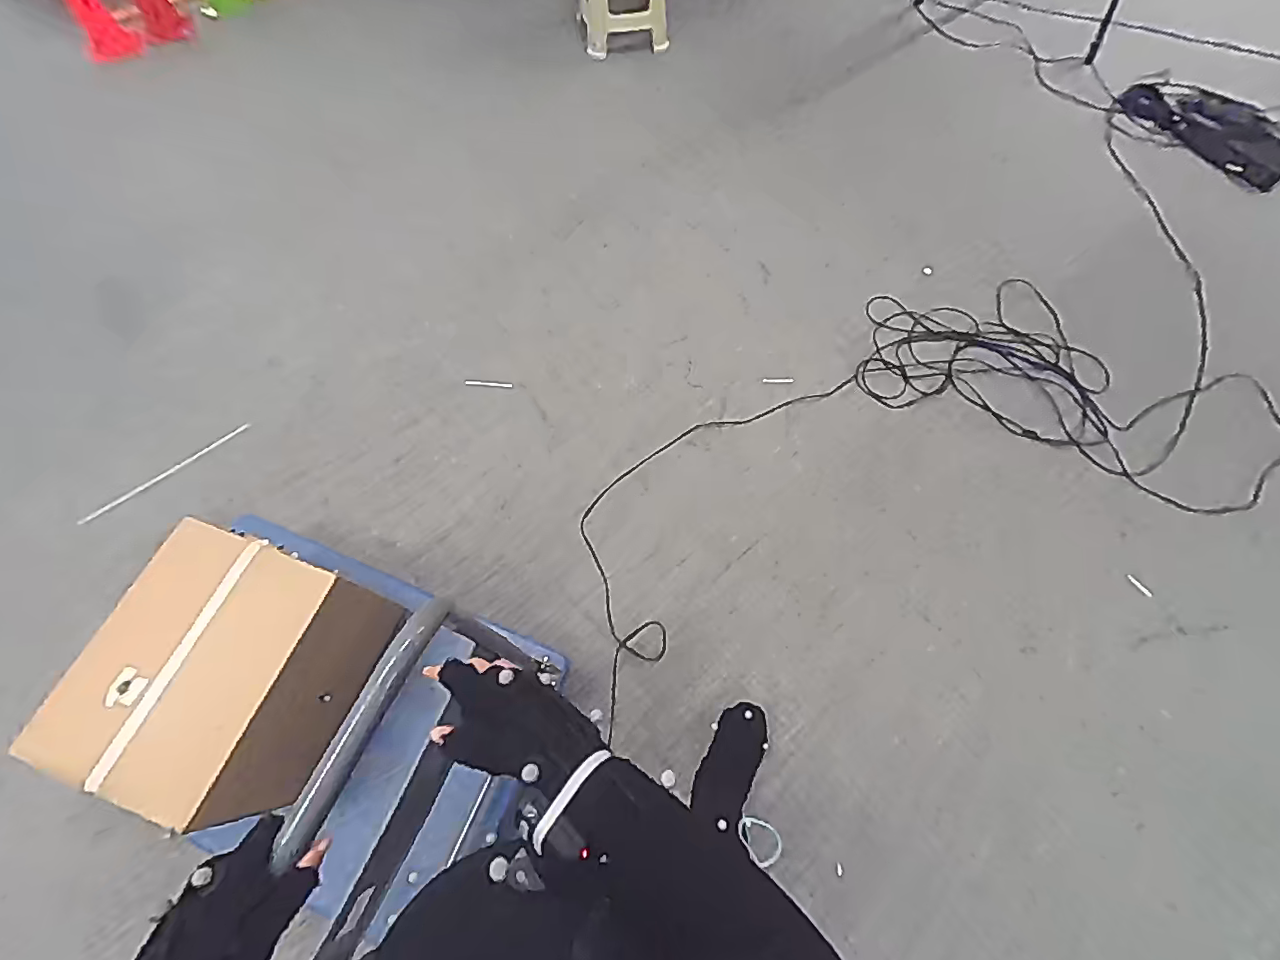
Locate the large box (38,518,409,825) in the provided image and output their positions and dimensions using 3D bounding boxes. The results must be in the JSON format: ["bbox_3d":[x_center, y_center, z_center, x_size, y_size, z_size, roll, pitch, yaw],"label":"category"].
[{"bbox_3d":[-0.708,0.340,1.011,0.320,0.320,0.408,19,68,7],"label":"large box"}]
